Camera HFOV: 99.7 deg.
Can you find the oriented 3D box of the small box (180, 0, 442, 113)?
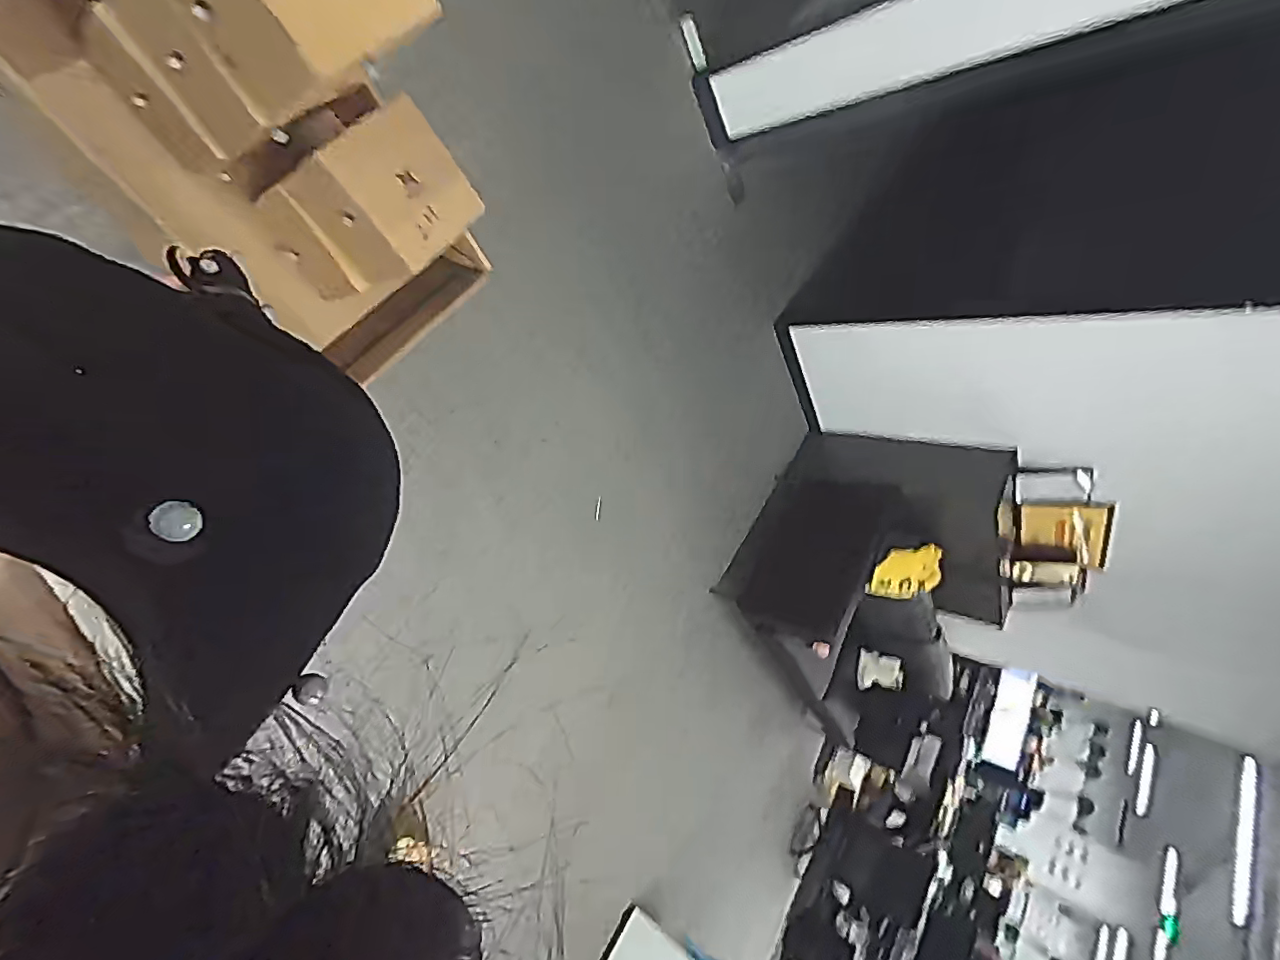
[{"bbox_3d":[-0.352,-0.520,0.557,0.179,0.176,0.168,-54,134,-24],"label":"small box"}]

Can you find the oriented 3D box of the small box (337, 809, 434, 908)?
[{"bbox_3d":[-0.767,1.128,1.621,0.179,0.176,0.168,-55,133,-23],"label":"small box"}]
